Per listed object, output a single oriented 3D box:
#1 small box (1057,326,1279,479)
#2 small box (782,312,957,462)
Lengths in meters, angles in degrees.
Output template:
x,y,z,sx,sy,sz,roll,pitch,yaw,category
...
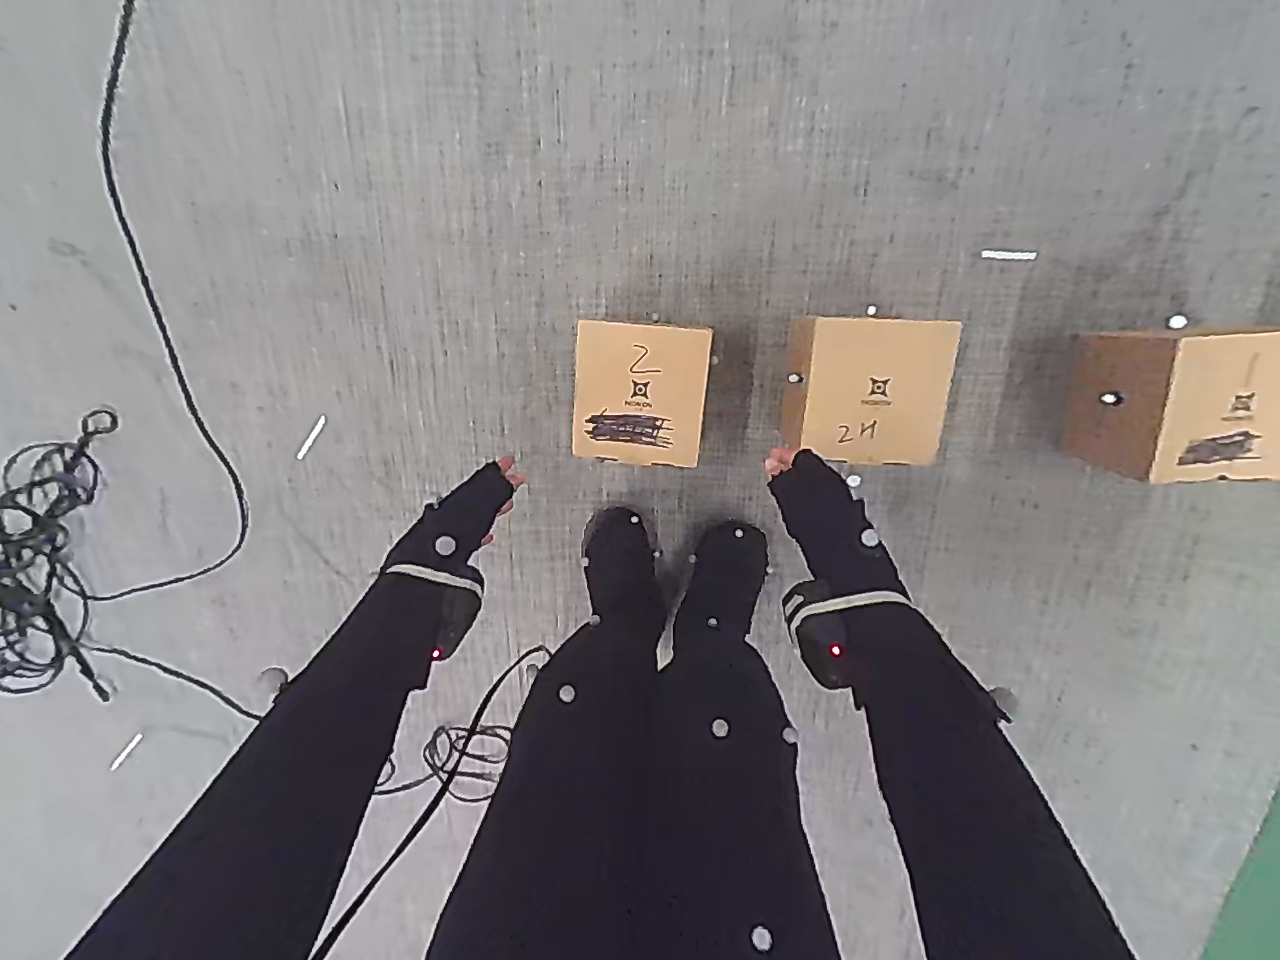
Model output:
x,y,z,sx,sy,sz,roll,pitch,yaw,category
0.692,-0.108,0.708,0.168,0.176,0.179,-2,105,5,small box
0.292,-0.132,0.731,0.168,0.176,0.179,3,107,5,small box
